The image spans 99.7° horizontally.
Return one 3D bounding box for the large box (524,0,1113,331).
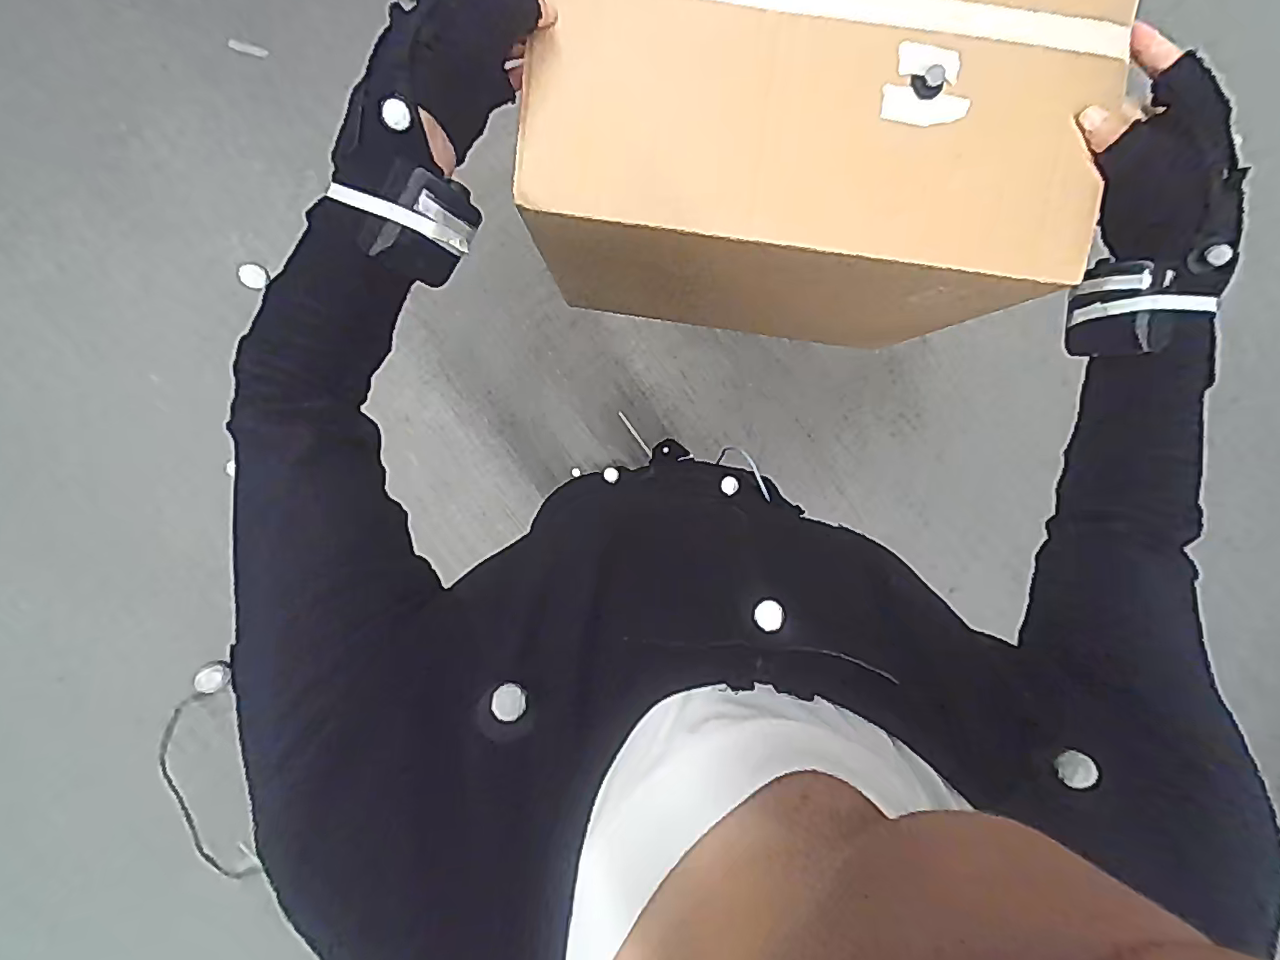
[{"bbox_3d":[0.123,-0.342,0.521,0.408,0.320,0.320,6,97,-2],"label":"large box"}]
